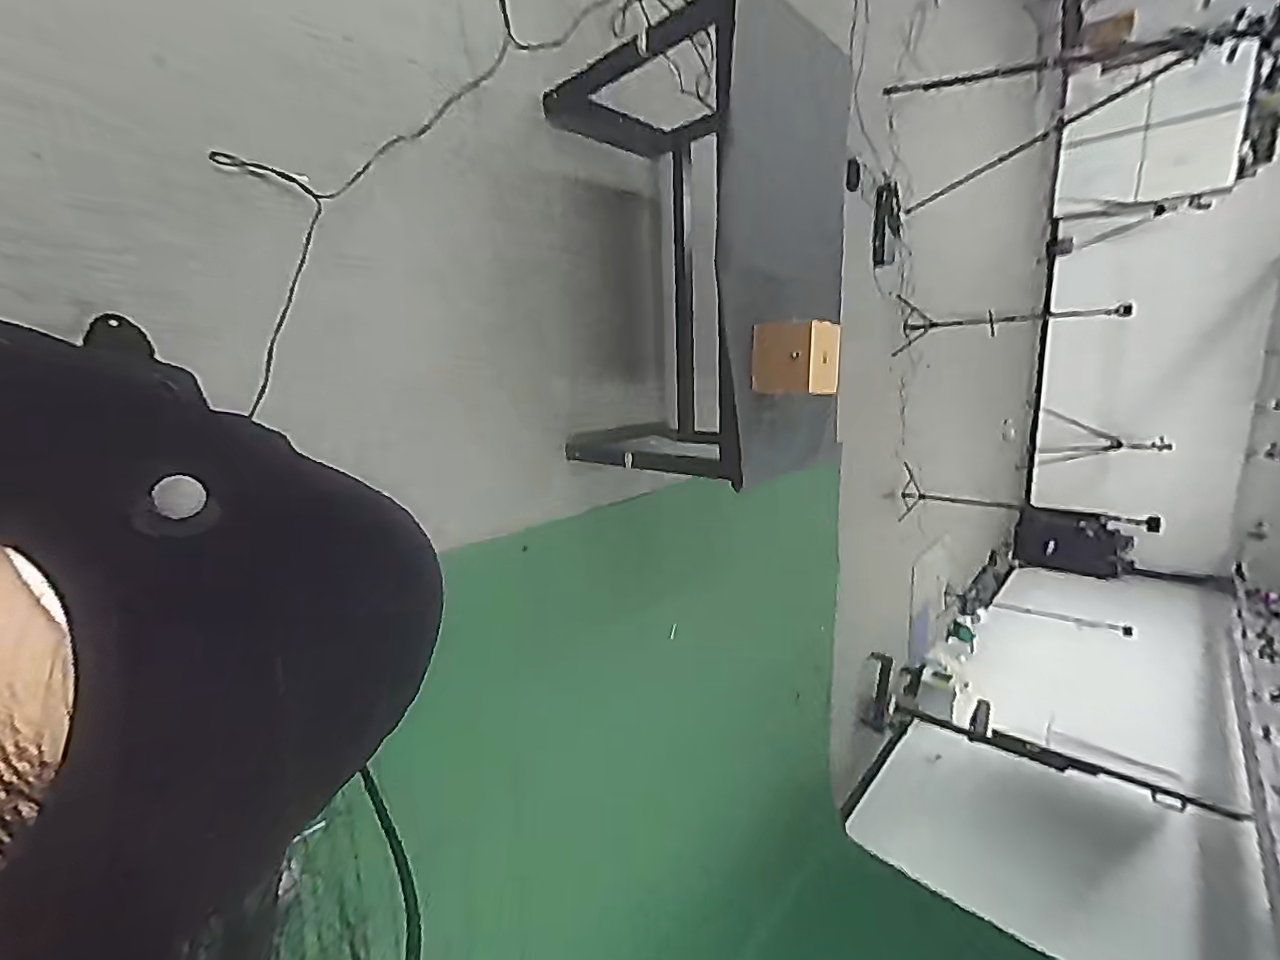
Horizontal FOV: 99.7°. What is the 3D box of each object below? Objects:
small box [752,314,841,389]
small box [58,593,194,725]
[{"bbox_3d":[0.407,-0.328,1.410,0.168,0.176,0.179,-10,104,-46],"label":"small box"},{"bbox_3d":[-0.984,0.327,1.035,0.168,0.176,0.179,-11,102,-46],"label":"small box"}]
